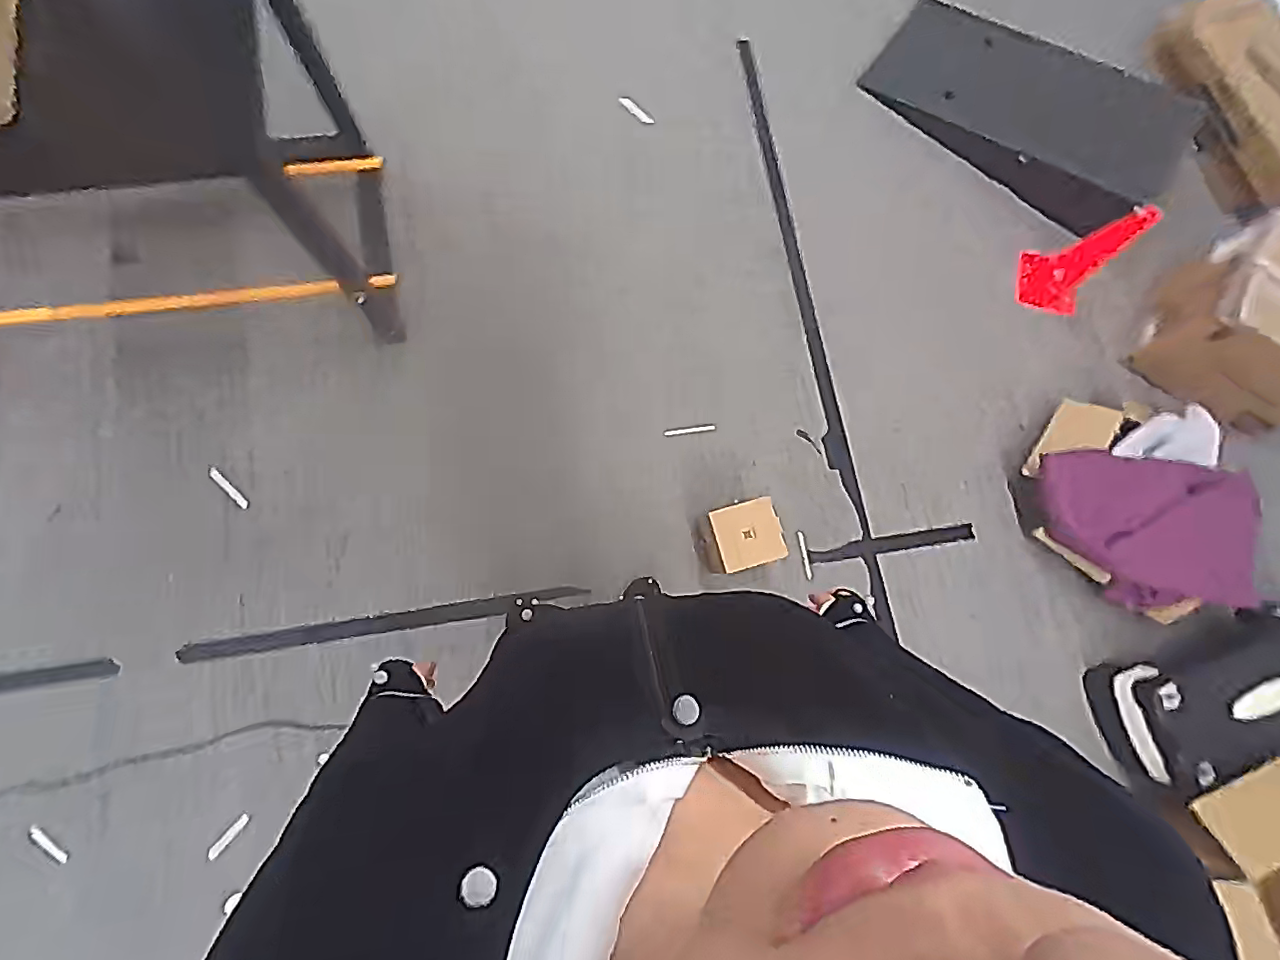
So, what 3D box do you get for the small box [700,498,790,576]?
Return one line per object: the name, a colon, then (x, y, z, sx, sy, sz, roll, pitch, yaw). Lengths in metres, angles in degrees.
small box: (0.278, 0.156, 1.470, 0.179, 0.176, 0.168, -16, 81, -6)
